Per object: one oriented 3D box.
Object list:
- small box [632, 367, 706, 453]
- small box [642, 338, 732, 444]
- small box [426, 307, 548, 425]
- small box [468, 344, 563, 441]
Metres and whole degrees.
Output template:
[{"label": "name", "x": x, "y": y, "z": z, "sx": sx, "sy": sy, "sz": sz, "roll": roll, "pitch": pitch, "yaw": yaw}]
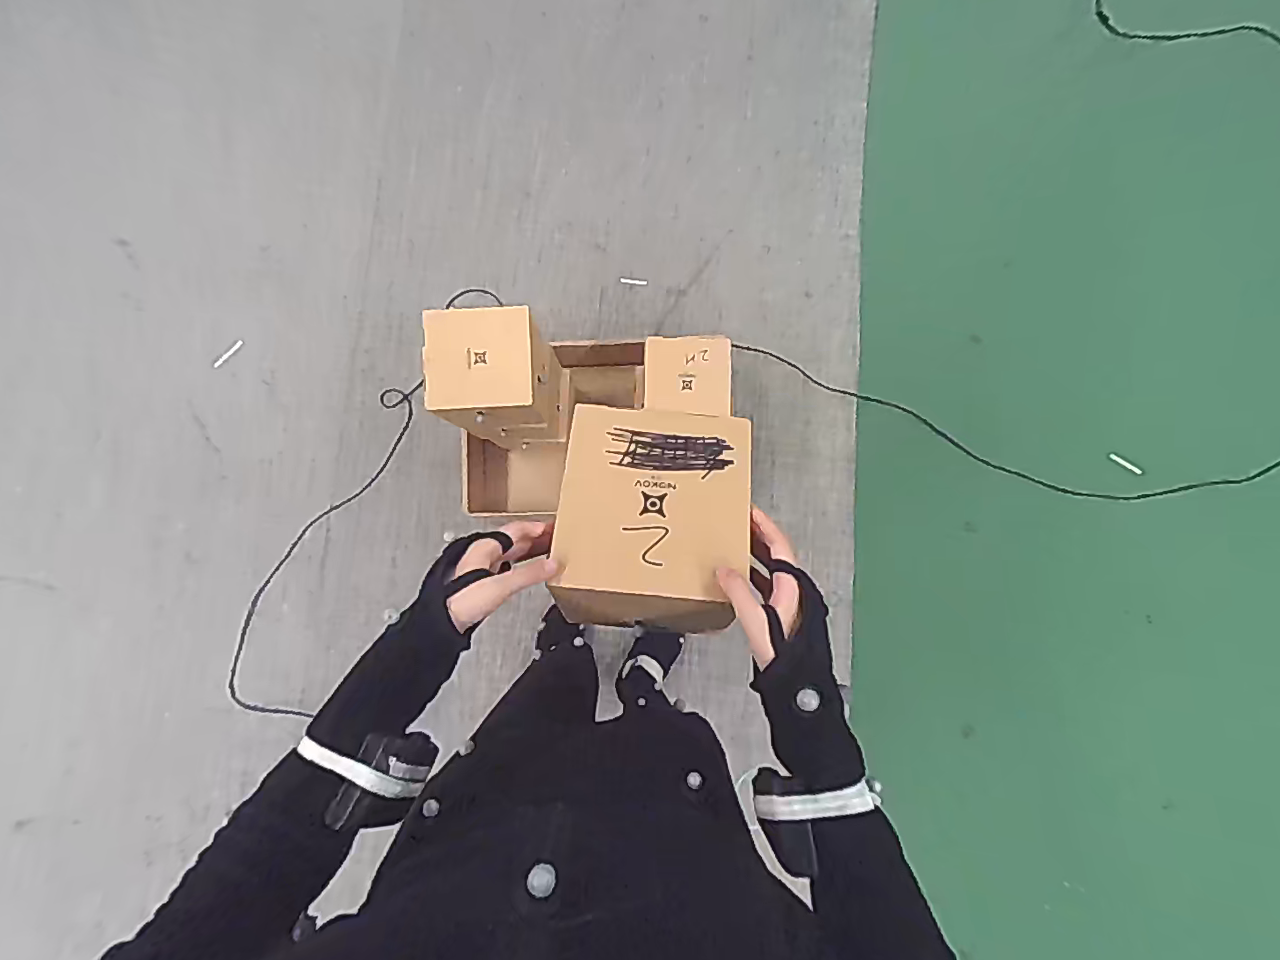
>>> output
[{"label": "small box", "x": 0.075, "y": -0.158, "z": 1.270, "sx": 0.179, "sy": 0.176, "sz": 0.168, "roll": 2, "pitch": 84, "yaw": 0}, {"label": "small box", "x": 0.091, "y": -0.174, "z": 1.106, "sx": 0.168, "sy": 0.176, "sz": 0.179, "roll": 3, "pitch": 83, "yaw": -1}, {"label": "small box", "x": -0.257, "y": -0.192, "z": 0.945, "sx": 0.179, "sy": 0.176, "sz": 0.168, "roll": -2, "pitch": 86, "yaw": 0}, {"label": "small box", "x": -0.259, "y": -0.176, "z": 1.106, "sx": 0.179, "sy": 0.176, "sz": 0.168, "roll": 3, "pitch": 85, "yaw": -1}]
